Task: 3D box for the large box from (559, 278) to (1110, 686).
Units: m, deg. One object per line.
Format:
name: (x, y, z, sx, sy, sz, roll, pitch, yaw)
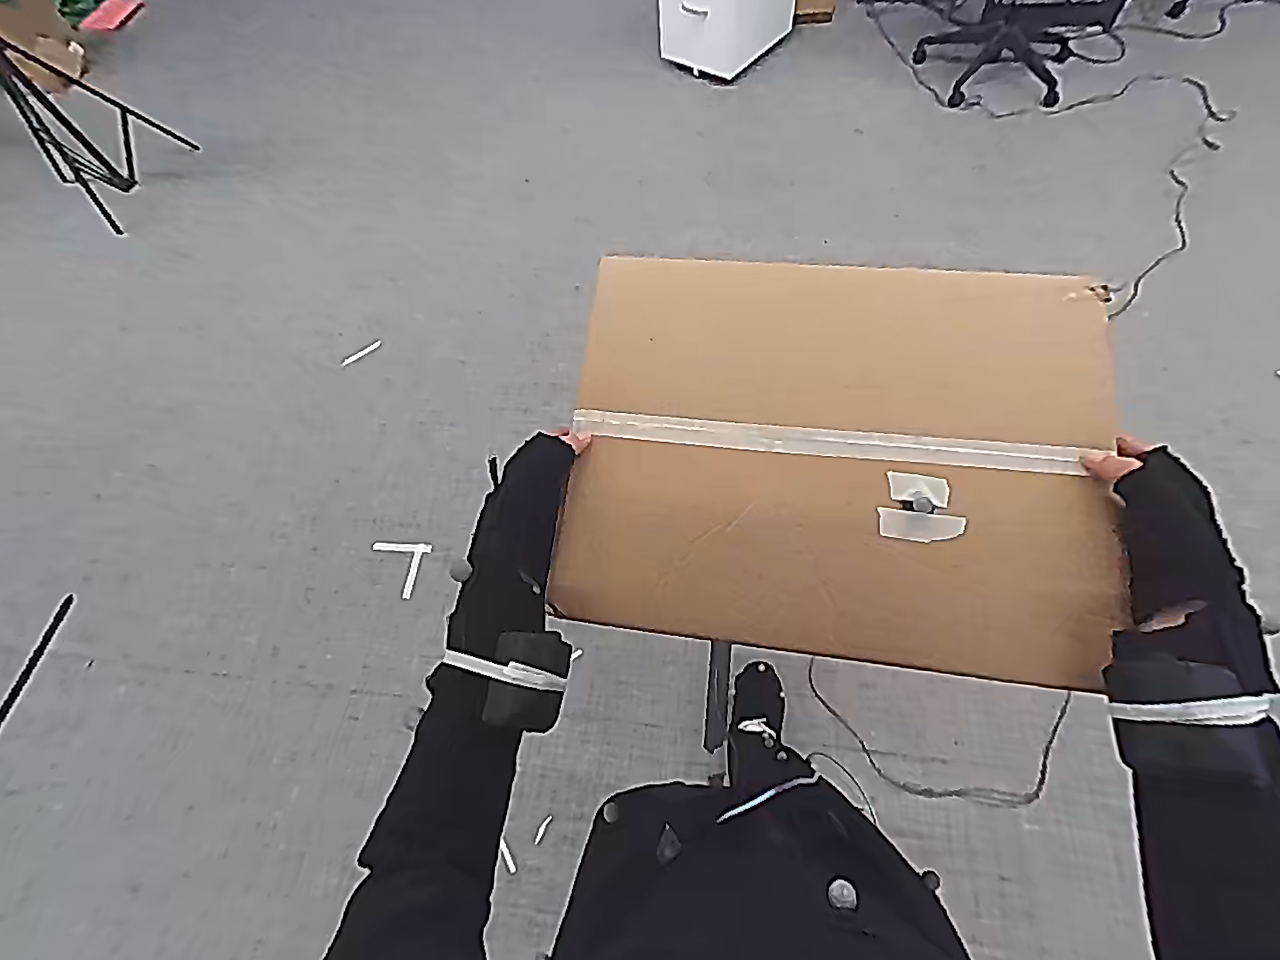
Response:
large box: (0.160, 0.016, 0.575, 0.408, 0.320, 0.320, 5, 78, 7)
